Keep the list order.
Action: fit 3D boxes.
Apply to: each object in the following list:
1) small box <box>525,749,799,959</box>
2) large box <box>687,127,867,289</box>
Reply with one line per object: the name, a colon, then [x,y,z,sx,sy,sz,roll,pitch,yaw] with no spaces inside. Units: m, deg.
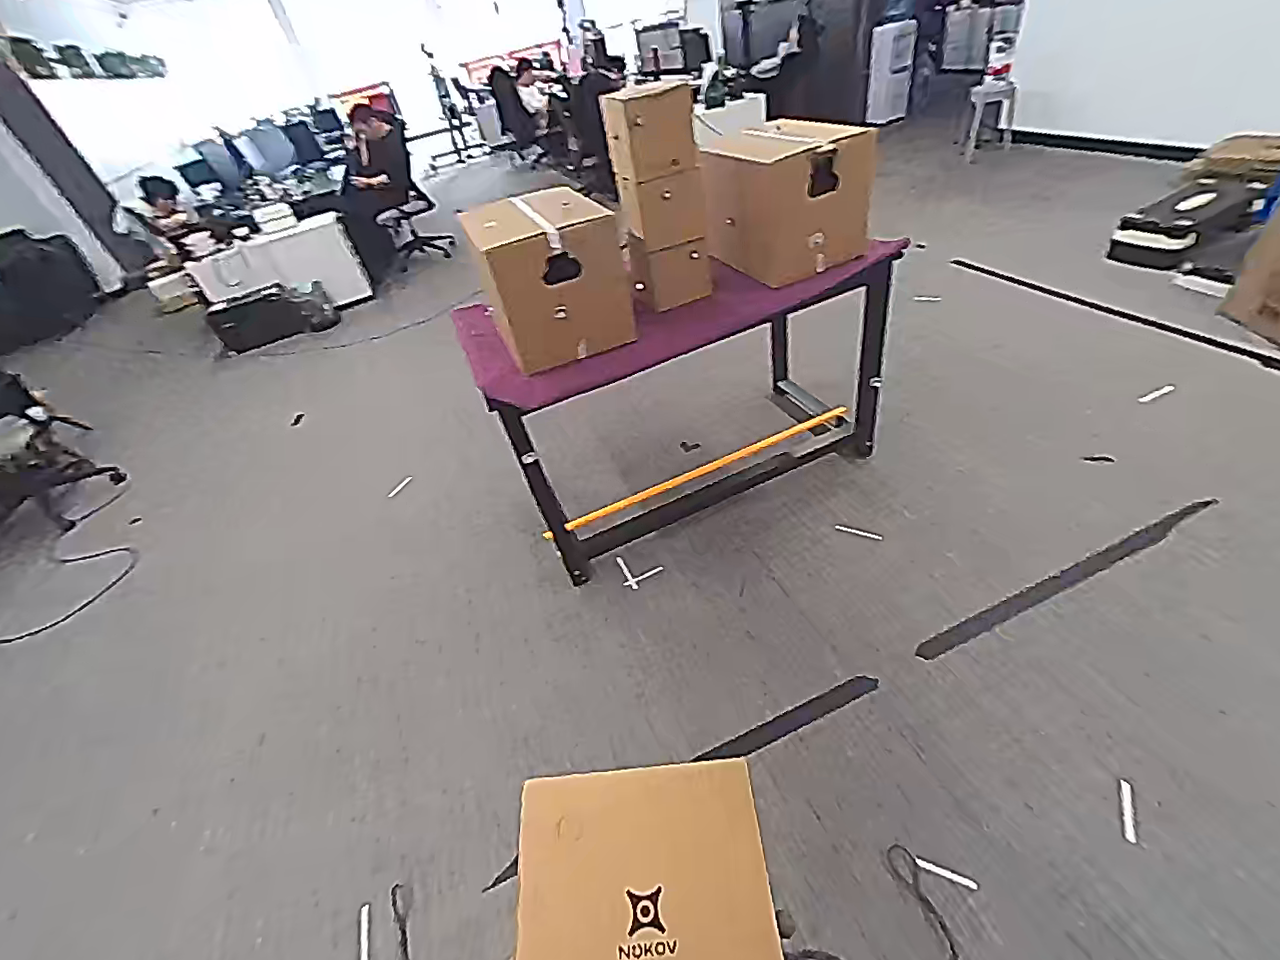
small box: [0.011,0.318,0.396,0.168,0.176,0.179,-4,49,-2]
large box: [0.382,-0.786,1.546,0.320,0.320,0.408,-23,40,-12]
